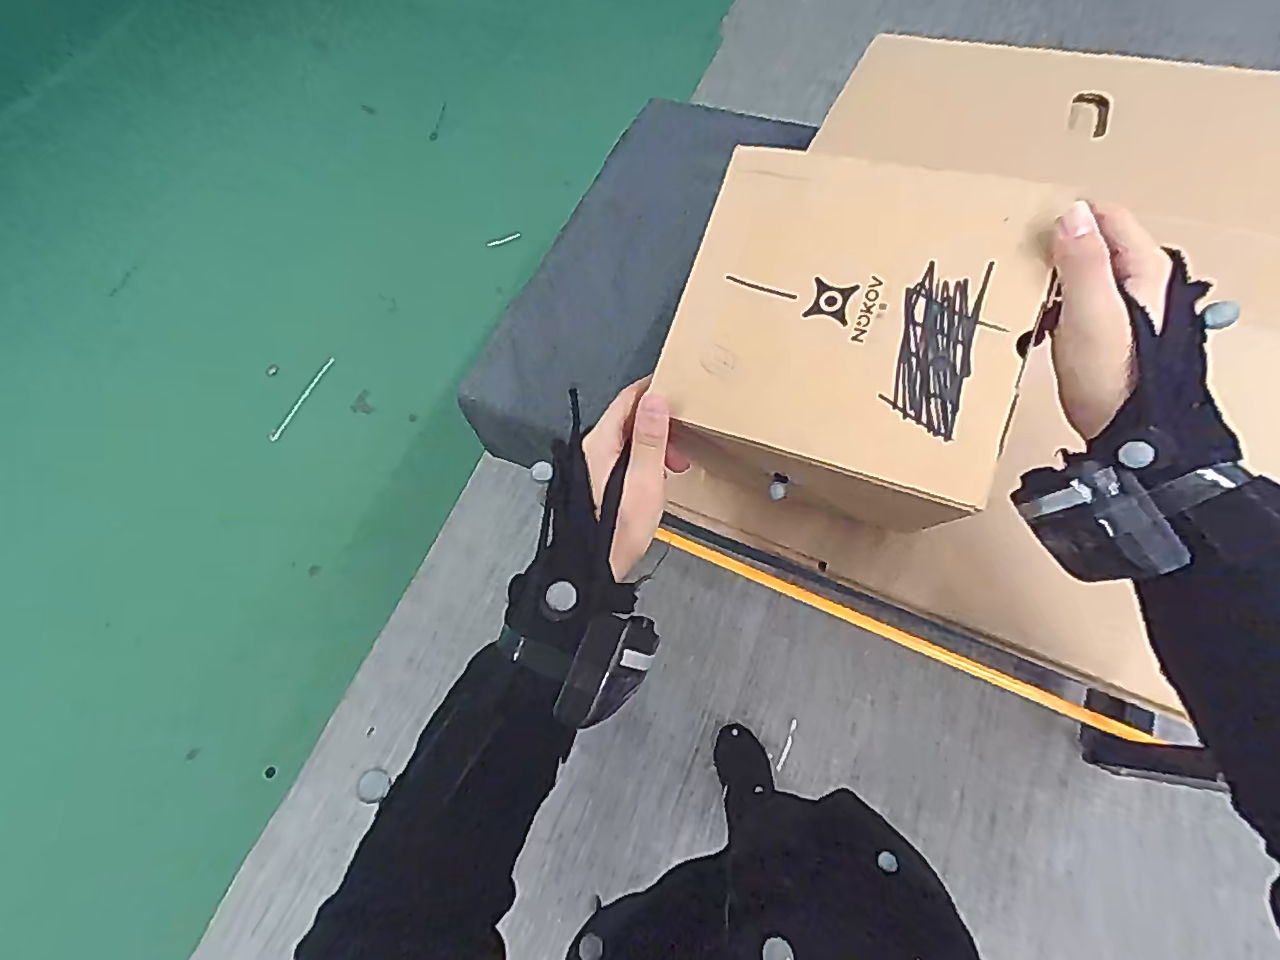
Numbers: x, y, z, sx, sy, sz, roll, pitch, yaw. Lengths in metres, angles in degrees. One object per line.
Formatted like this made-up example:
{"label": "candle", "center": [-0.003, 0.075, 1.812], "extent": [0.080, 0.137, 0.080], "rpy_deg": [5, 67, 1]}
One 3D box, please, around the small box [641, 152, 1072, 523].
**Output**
{"label": "small box", "center": [0.126, -0.075, 0.358], "extent": [0.179, 0.176, 0.168], "rpy_deg": [18, 86, 18]}
